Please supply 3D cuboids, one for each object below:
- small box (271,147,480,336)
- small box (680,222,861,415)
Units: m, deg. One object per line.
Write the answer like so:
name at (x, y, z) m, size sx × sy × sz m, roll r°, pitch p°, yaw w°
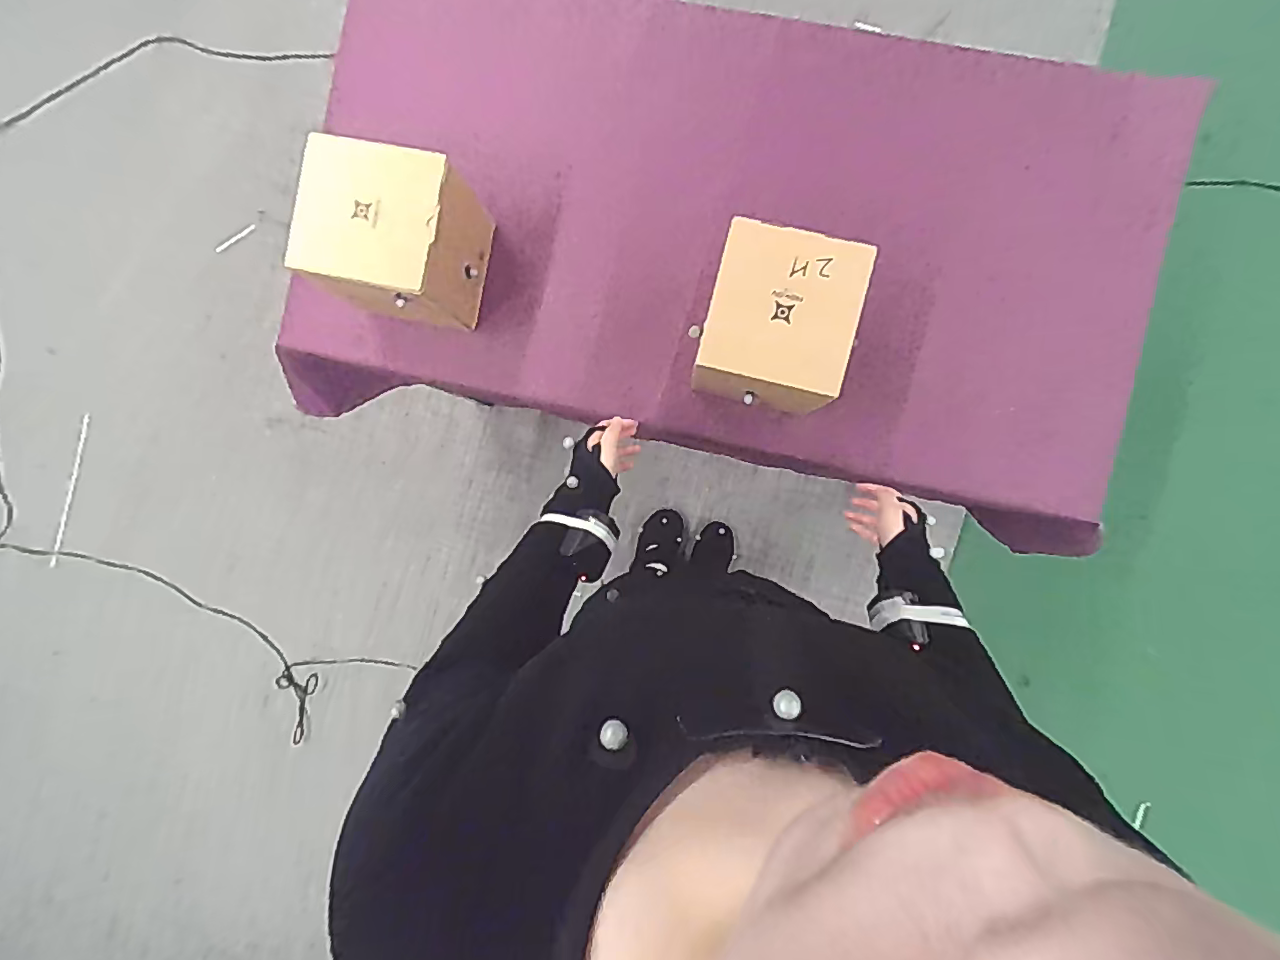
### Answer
small box at (-0.337, -0.302, 0.719) m, size 0.179 × 0.176 × 0.168 m, roll 10°, pitch 90°, yaw 3°
small box at (0.152, -0.188, 0.683) m, size 0.168 × 0.176 × 0.179 m, roll 14°, pitch 91°, yaw 4°
